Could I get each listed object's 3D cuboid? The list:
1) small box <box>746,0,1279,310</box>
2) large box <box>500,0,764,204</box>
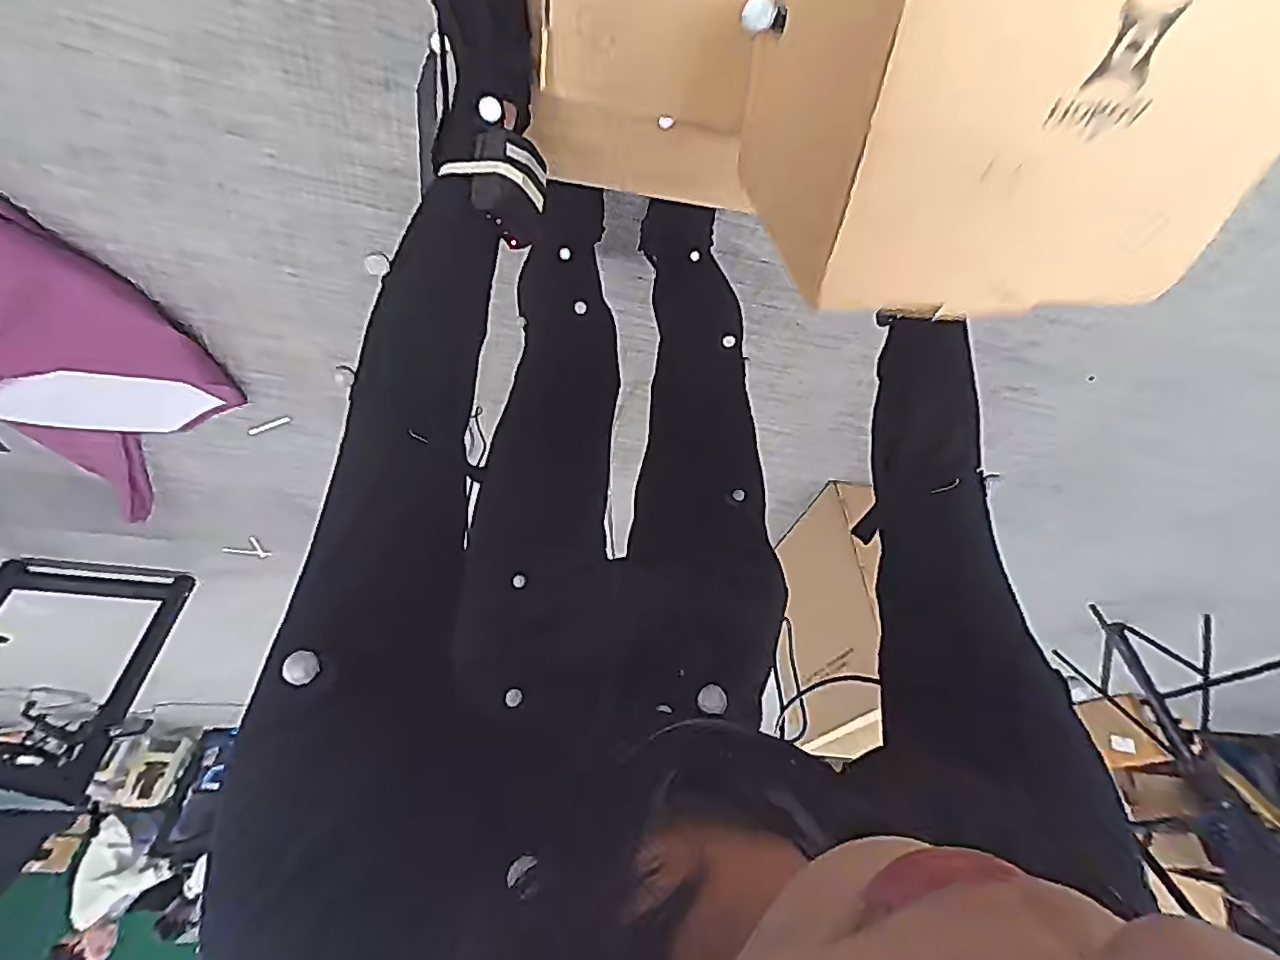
[{"bbox_3d":[0.151,-0.197,0.236,0.168,0.176,0.179,-3,140,-4],"label":"small box"},{"bbox_3d":[0.083,-0.482,0.509,0.408,0.320,0.320,4,136,-12],"label":"large box"}]
